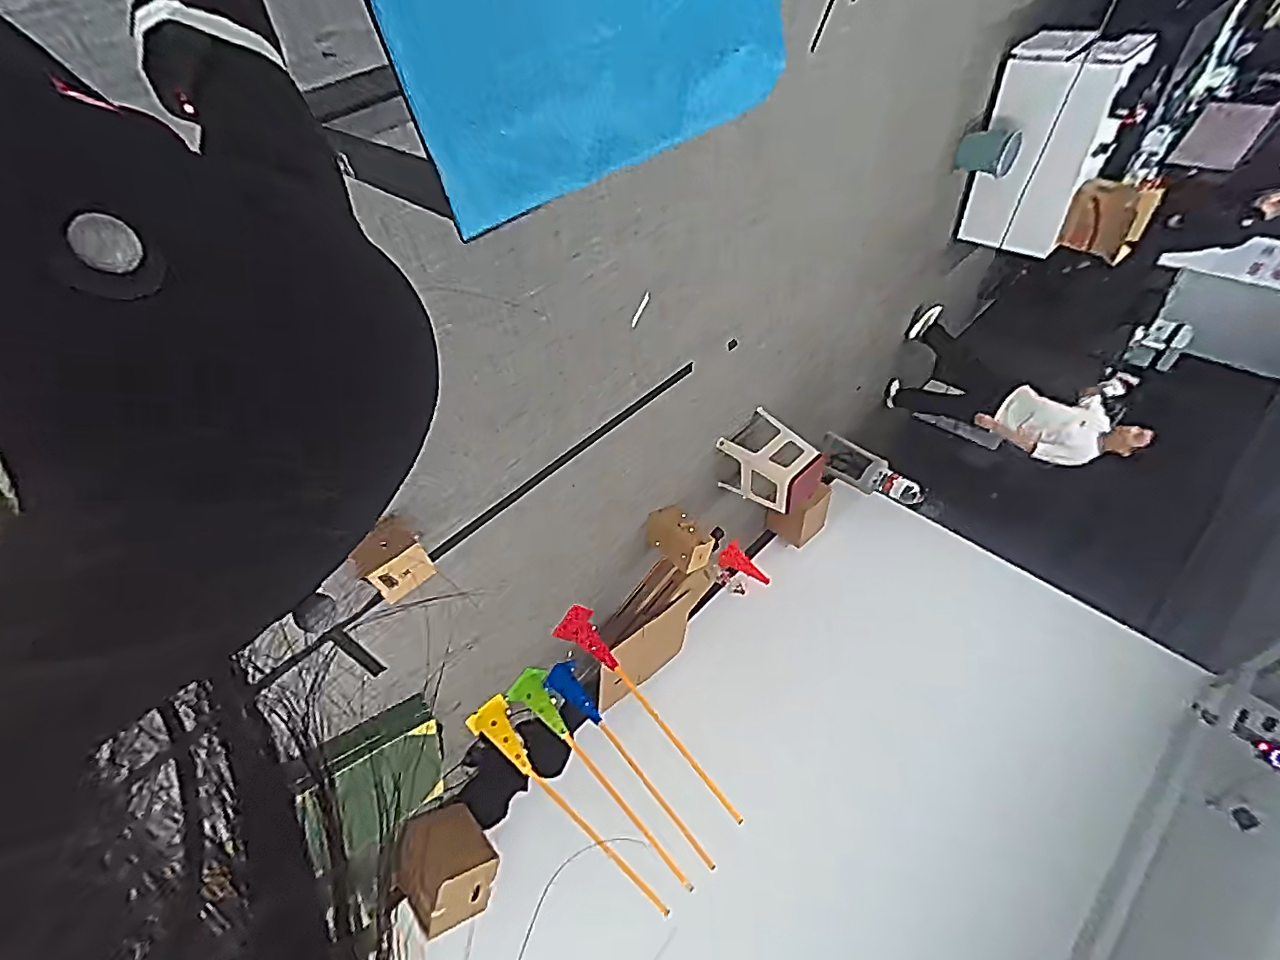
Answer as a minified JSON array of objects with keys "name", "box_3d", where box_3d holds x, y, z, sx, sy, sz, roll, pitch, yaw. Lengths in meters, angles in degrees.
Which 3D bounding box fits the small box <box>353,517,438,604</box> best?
[{"name":"small box","box_3d":[-0.791,0.255,1.739,0.179,0.176,0.168,-39,143,-24]}]
